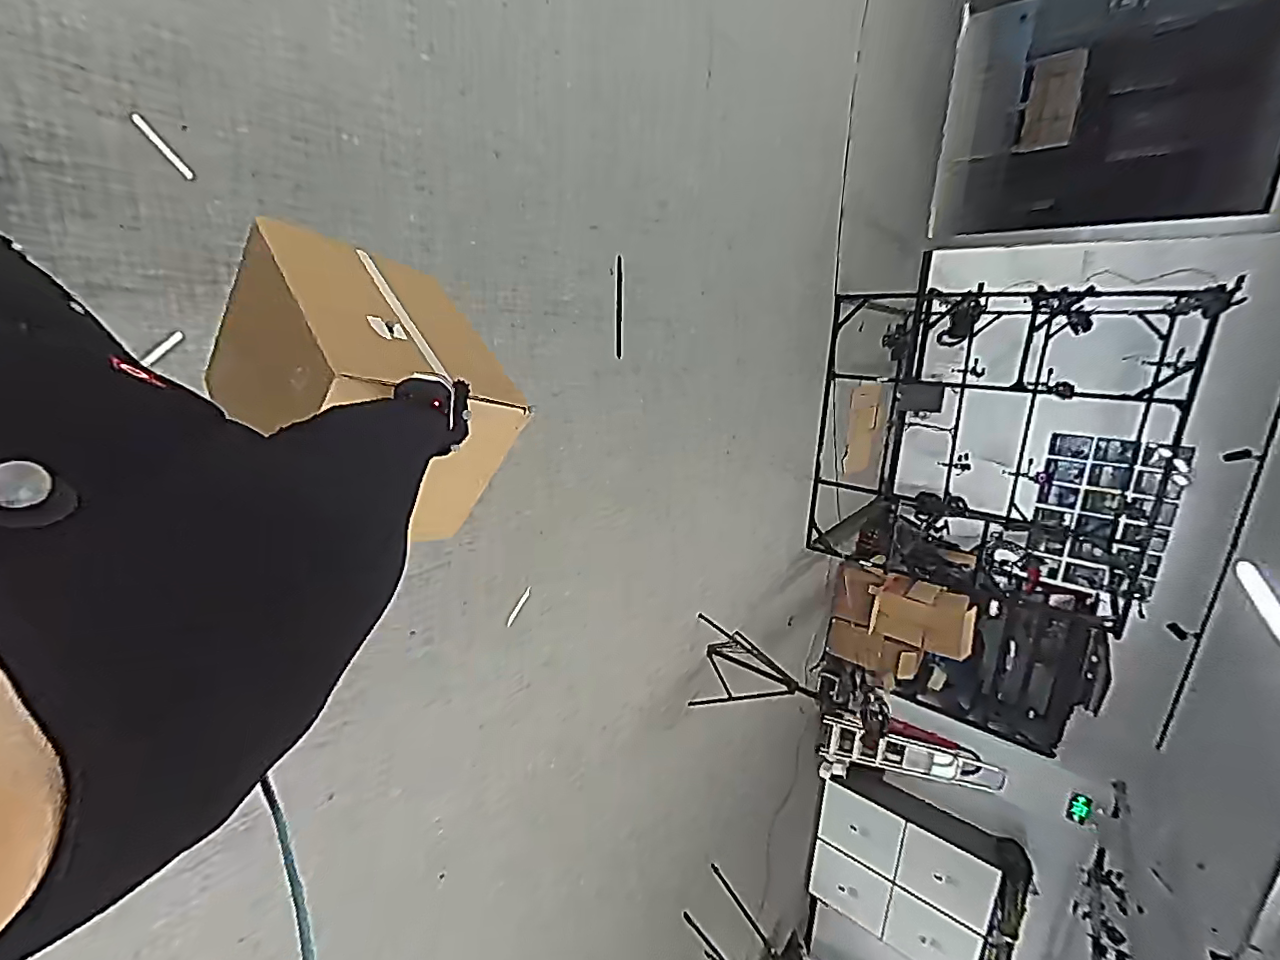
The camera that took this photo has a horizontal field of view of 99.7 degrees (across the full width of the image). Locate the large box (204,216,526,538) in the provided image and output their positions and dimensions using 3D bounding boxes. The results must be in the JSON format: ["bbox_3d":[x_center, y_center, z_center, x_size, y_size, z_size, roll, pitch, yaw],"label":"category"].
[{"bbox_3d":[-0.477,-0.155,0.921,0.320,0.408,0.320,3,132,-54],"label":"large box"}]
